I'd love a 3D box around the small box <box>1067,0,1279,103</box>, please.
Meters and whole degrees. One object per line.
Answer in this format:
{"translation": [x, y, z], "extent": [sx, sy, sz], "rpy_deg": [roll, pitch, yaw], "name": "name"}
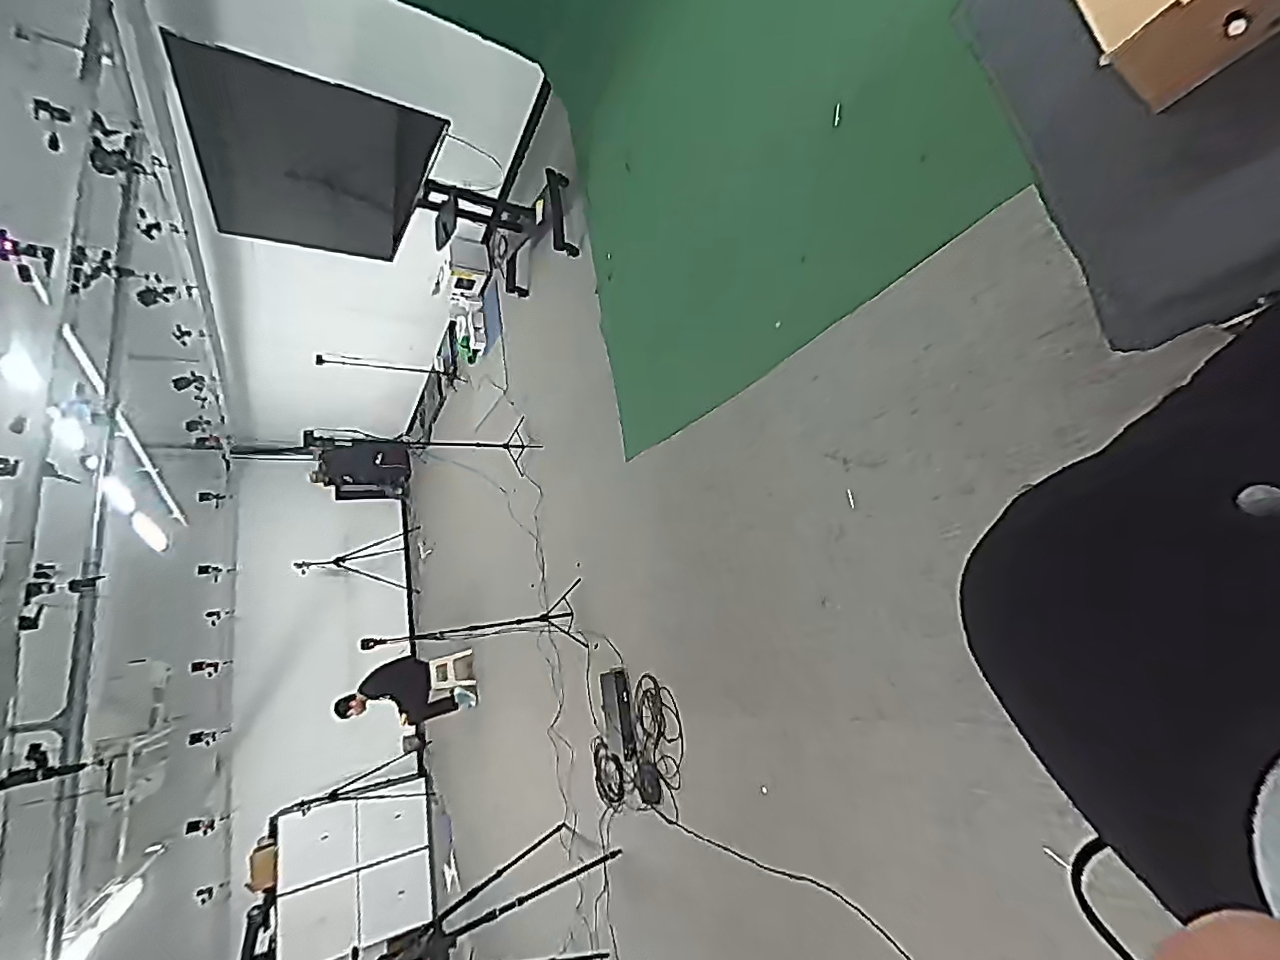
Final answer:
{"translation": [0.593, -0.552, 0.583], "extent": [0.168, 0.176, 0.179], "rpy_deg": [-31, 64, 52], "name": "small box"}
